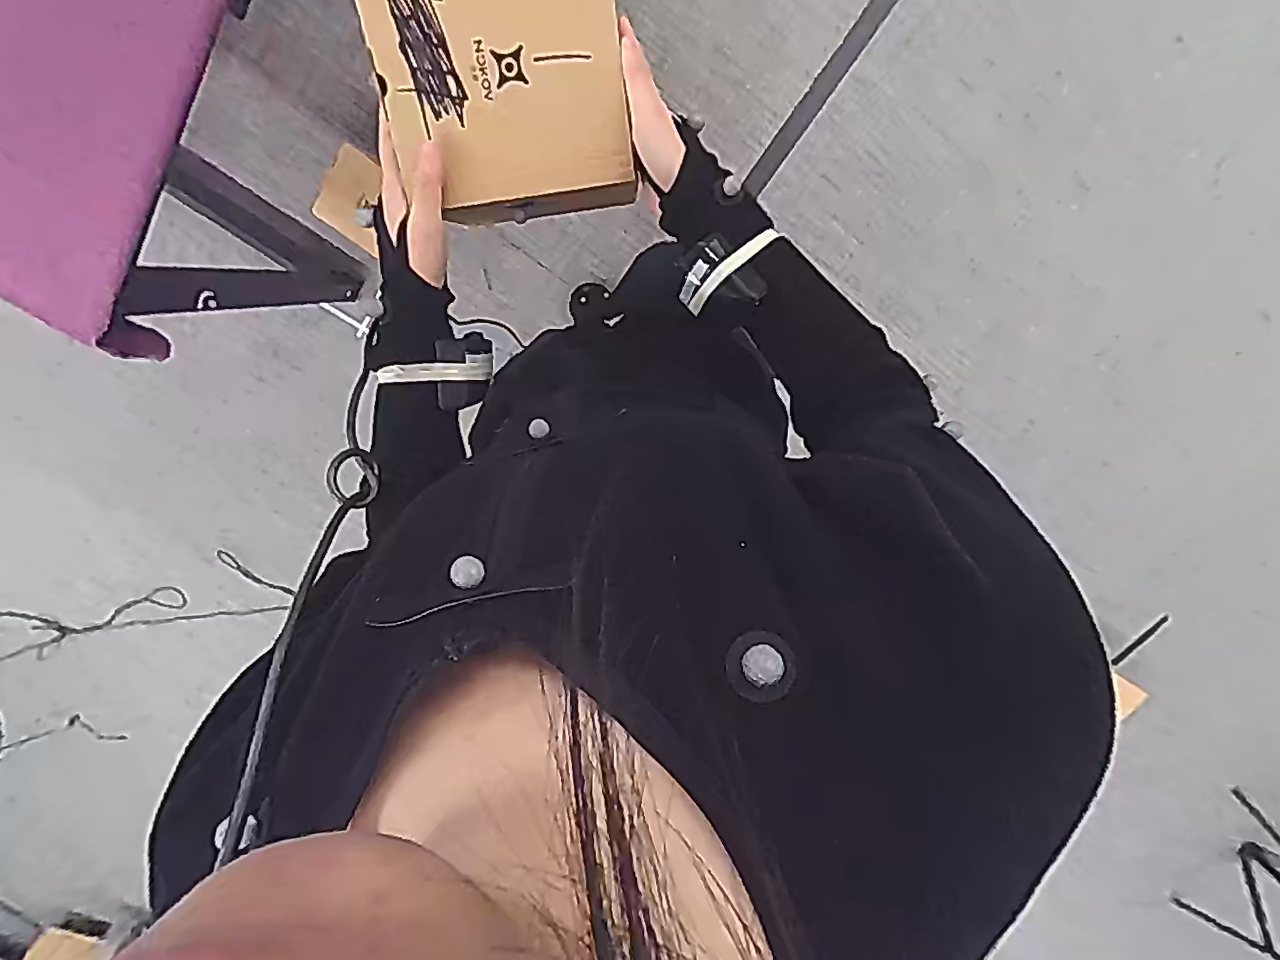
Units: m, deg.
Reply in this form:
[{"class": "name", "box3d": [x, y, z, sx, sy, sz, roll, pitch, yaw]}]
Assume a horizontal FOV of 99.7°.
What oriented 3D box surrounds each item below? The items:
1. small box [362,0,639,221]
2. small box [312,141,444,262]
[{"class": "small box", "box3d": [-0.095, -0.318, 0.446, 0.179, 0.176, 0.168, -7, 112, 2]}, {"class": "small box", "box3d": [-0.576, -0.608, 1.212, 0.179, 0.176, 0.168, 35, 106, -11]}]
